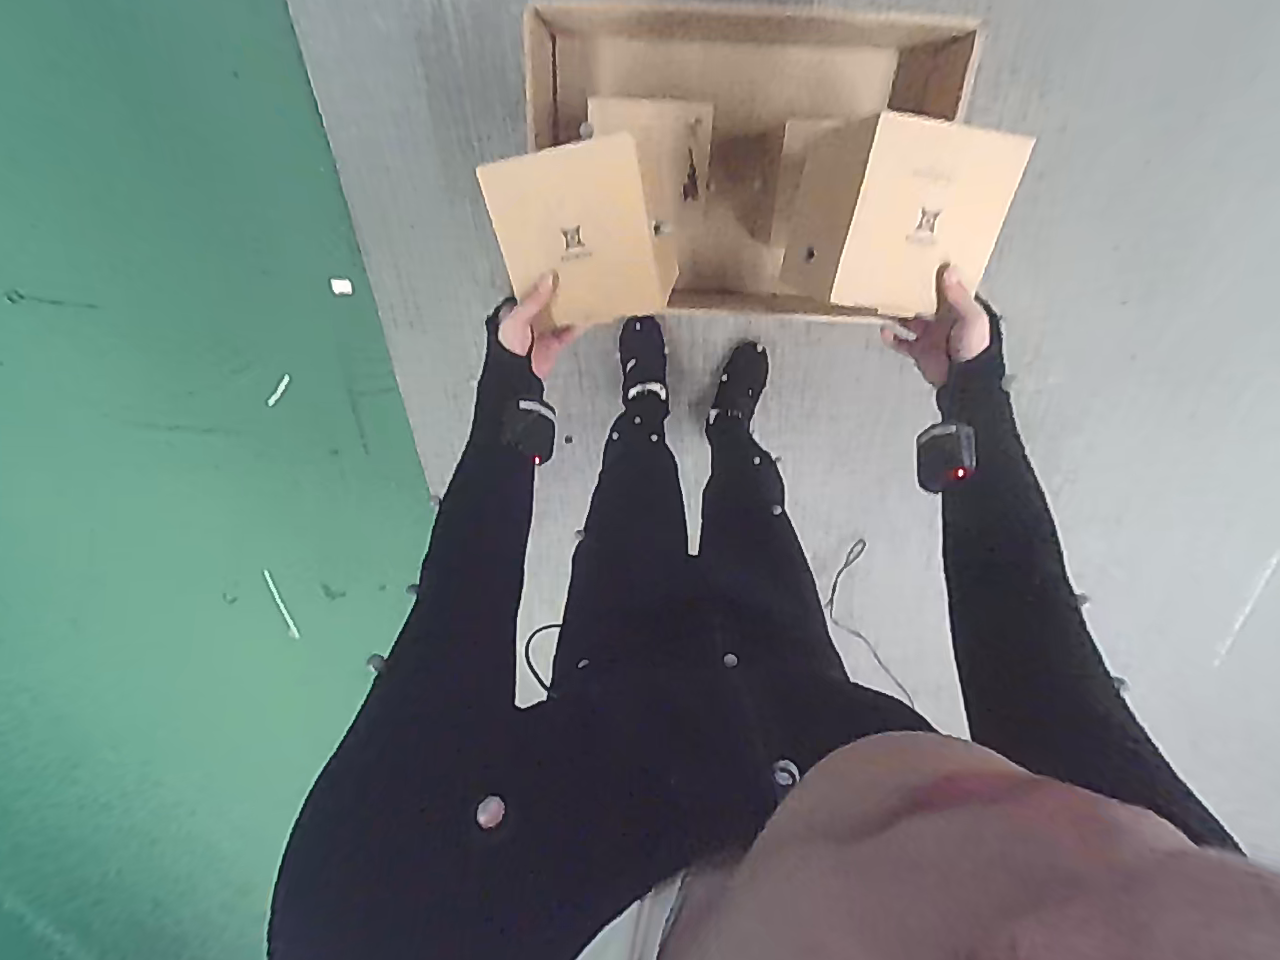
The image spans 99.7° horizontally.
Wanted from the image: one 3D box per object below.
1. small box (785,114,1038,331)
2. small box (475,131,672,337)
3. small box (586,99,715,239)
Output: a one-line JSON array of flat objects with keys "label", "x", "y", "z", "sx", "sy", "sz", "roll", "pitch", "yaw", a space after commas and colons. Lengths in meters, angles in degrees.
[{"label": "small box", "x": 0.280, "y": -0.281, "z": 0.608, "sx": 0.168, "sy": 0.176, "sz": 0.179, "roll": 5, "pitch": 115, "yaw": -9}, {"label": "small box", "x": -0.060, "y": -0.286, "z": 0.623, "sx": 0.168, "sy": 0.176, "sz": 0.179, "roll": -5, "pitch": 124, "yaw": 13}, {"label": "small box", "x": 0.015, "y": -0.474, "z": 0.840, "sx": 0.179, "sy": 0.176, "sz": 0.168, "roll": 5, "pitch": 117, "yaw": 1}]
